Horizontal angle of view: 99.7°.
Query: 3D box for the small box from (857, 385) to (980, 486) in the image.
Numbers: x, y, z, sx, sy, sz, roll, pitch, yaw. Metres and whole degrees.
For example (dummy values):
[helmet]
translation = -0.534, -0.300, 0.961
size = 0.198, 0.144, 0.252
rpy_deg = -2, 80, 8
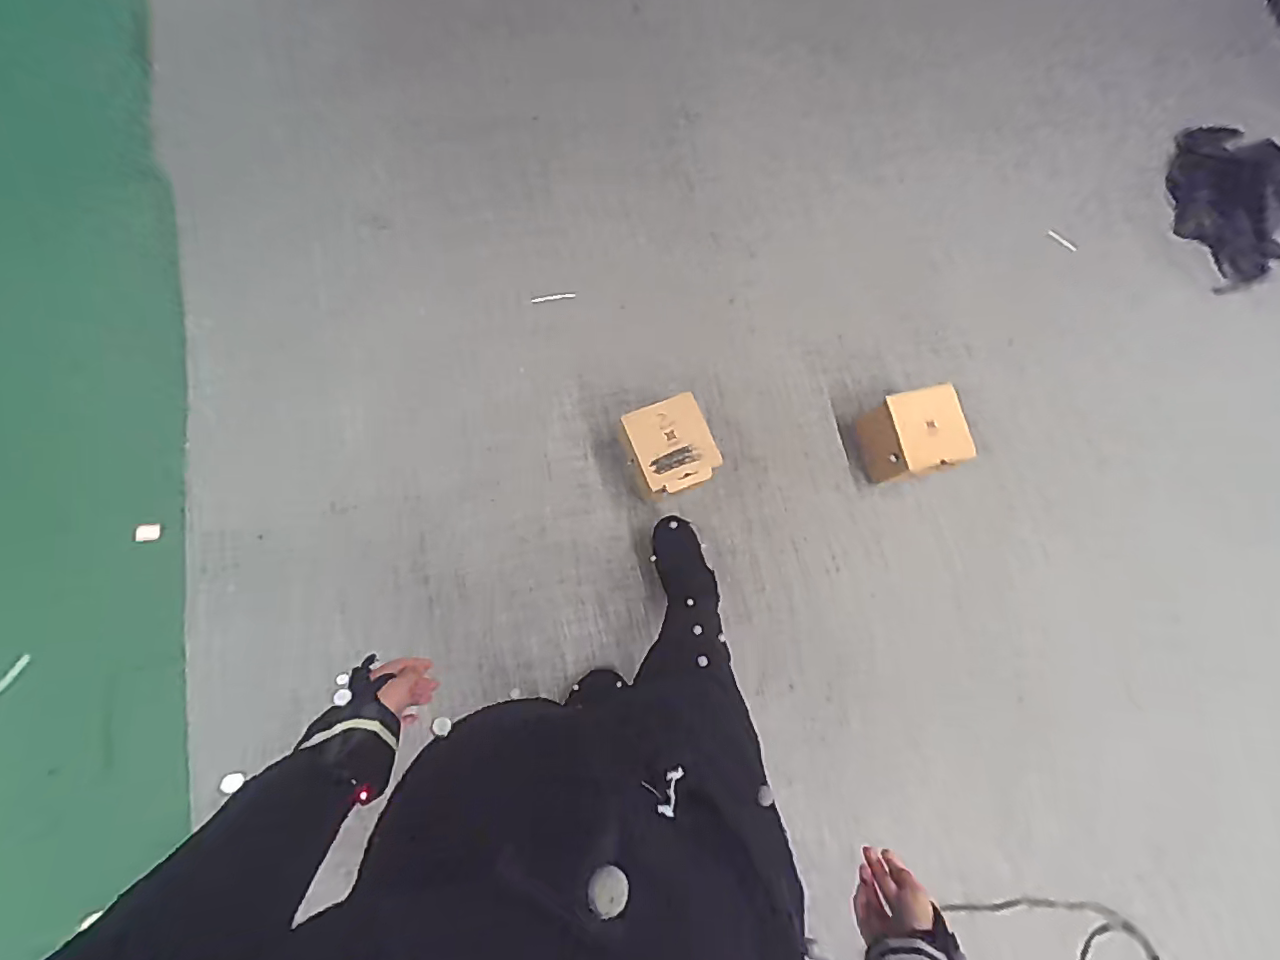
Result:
[small box]
translation = 0.632, -0.099, 1.252
size = 0.168, 0.176, 0.179
rpy_deg = -11, 79, -7
